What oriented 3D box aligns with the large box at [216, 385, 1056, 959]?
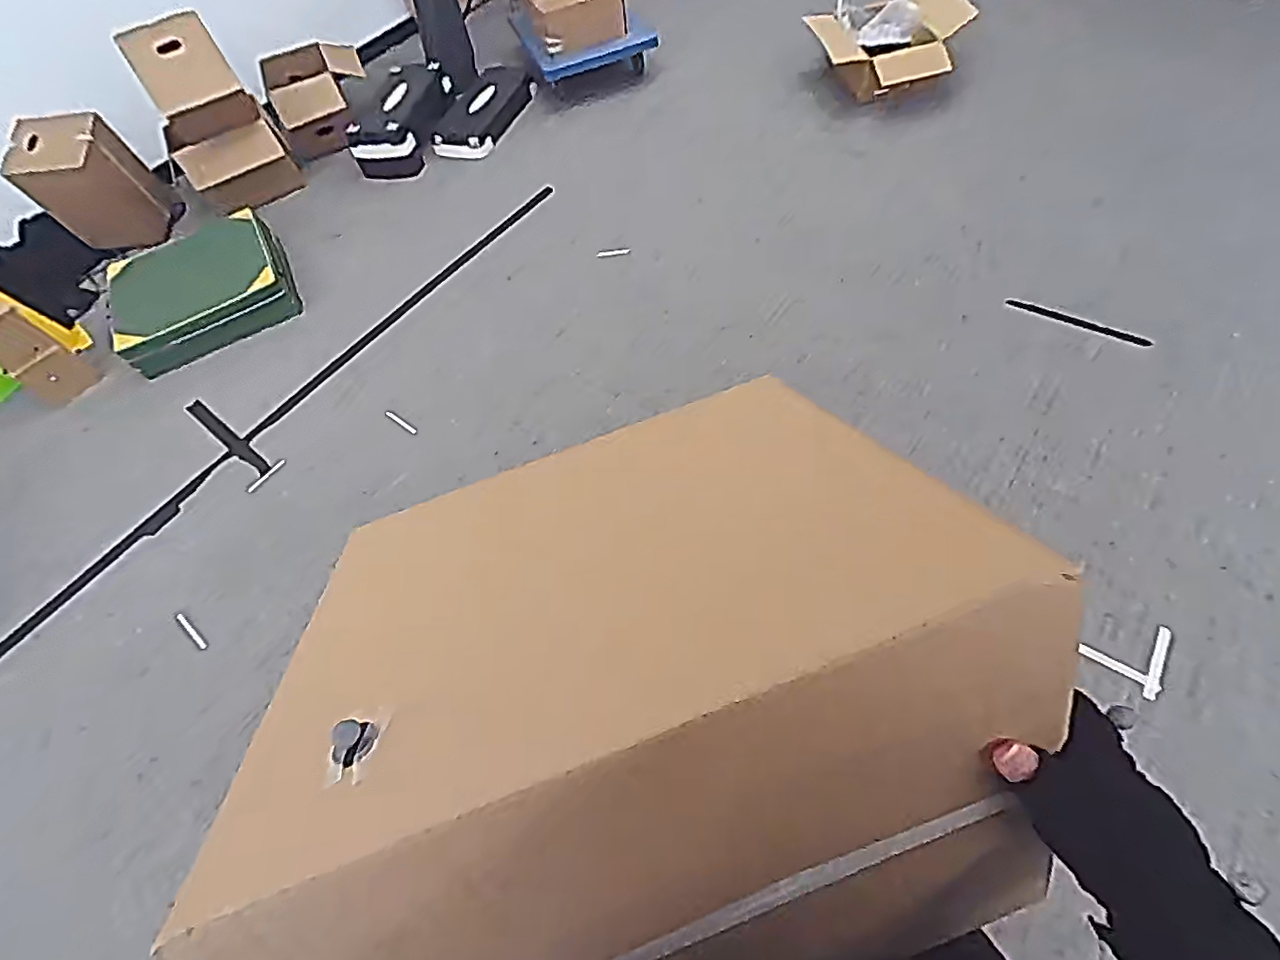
[{"bbox_3d":[0.015,0.167,0.434,0.408,0.320,0.320,-21,29,-2],"label":"large box"}]
